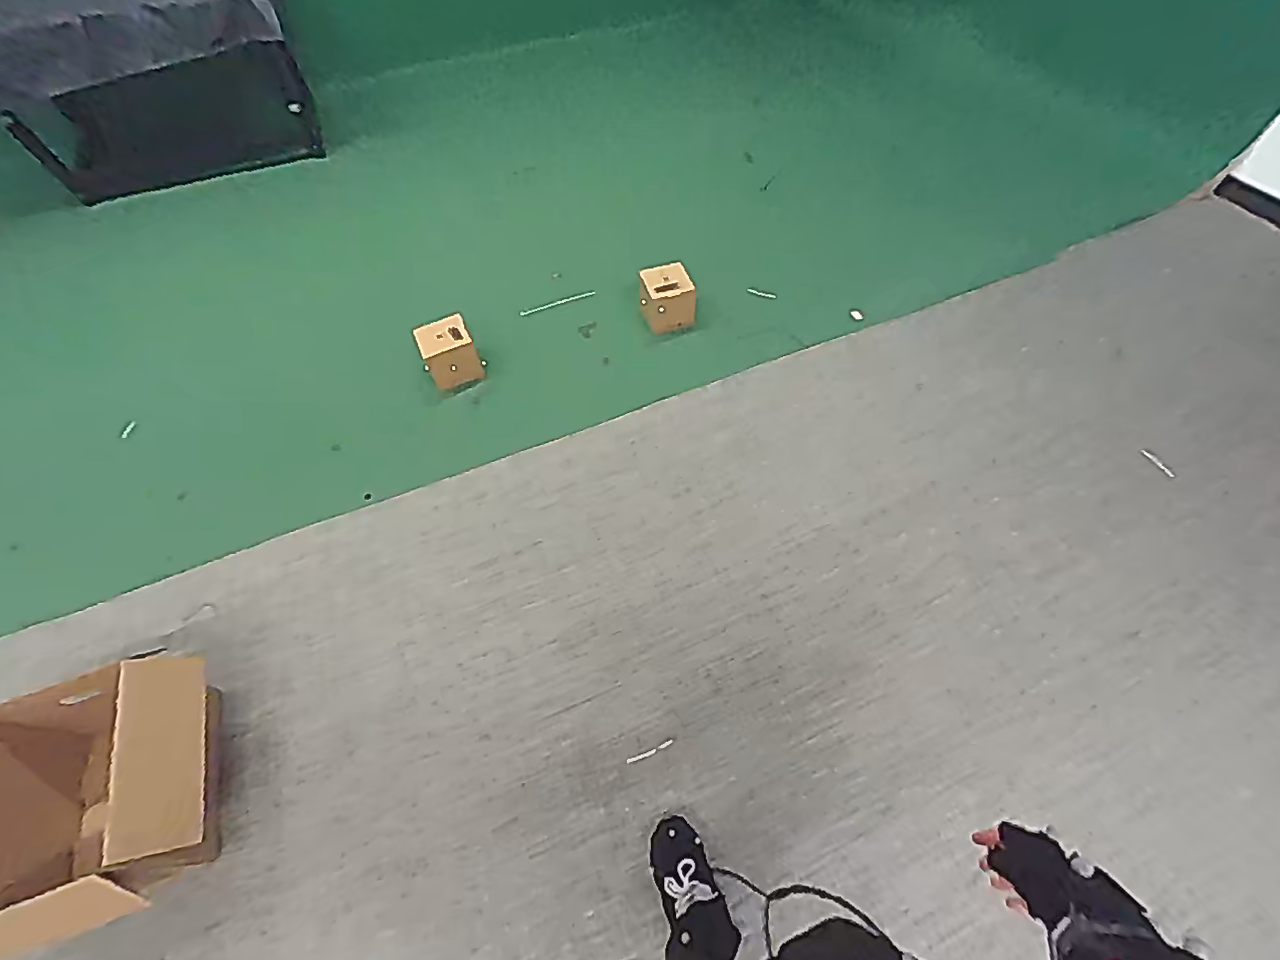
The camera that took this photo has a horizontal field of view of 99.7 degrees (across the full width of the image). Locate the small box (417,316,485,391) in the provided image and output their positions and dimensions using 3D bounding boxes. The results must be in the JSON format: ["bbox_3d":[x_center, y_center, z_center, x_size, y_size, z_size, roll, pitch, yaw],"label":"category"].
[{"bbox_3d":[-0.673,-0.454,1.949,0.179,0.176,0.168,-24,59,-10],"label":"small box"}]
